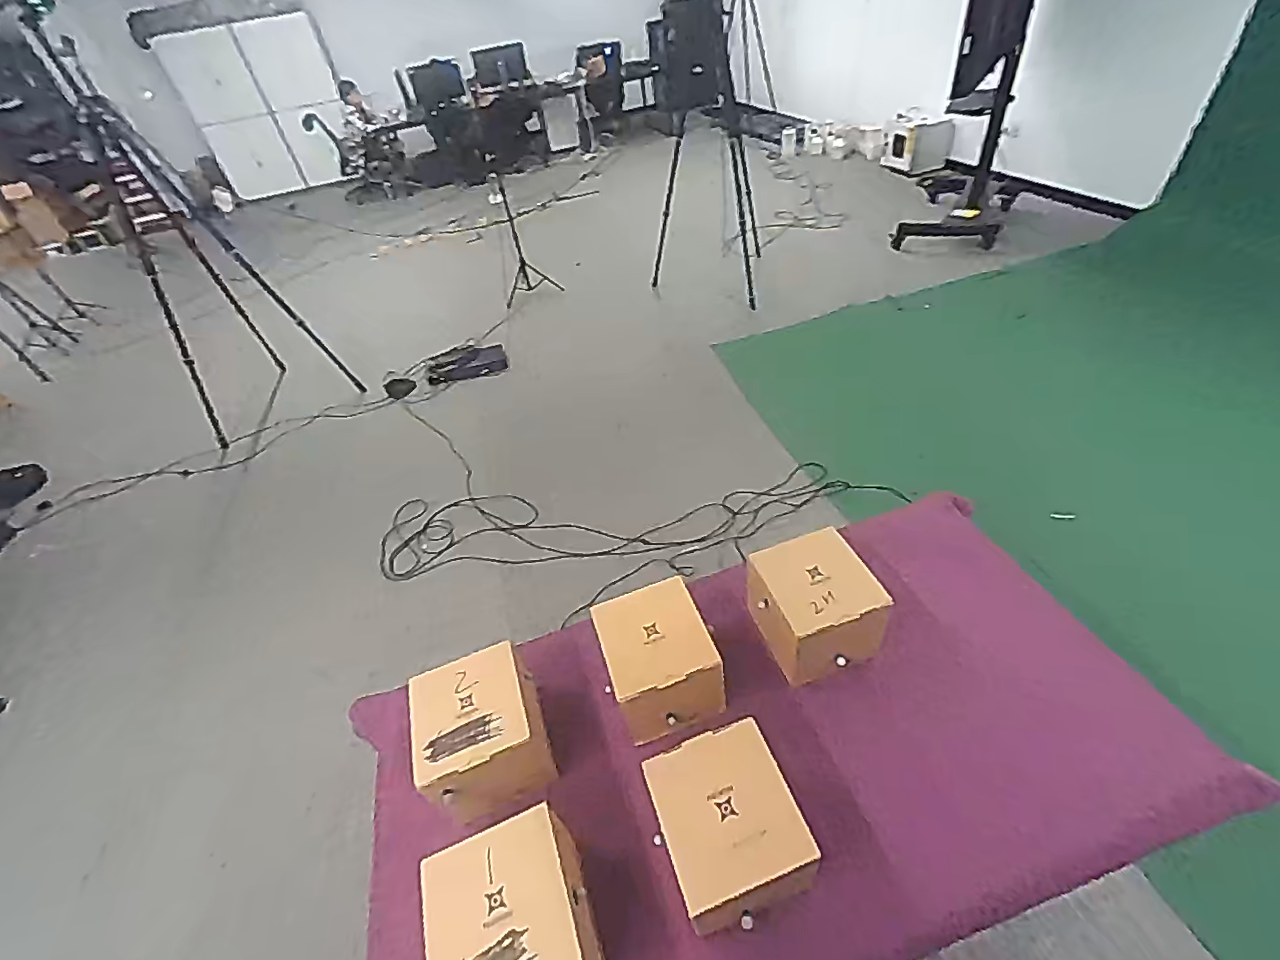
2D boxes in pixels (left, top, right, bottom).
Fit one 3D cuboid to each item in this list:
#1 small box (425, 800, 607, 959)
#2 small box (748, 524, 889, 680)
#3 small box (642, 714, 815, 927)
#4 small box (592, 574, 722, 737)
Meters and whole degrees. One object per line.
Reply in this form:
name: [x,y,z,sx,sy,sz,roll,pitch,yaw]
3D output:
small box: [-0.153,0.552,0.683,0.168,0.176,0.179,-21,42,-10]
small box: [0.297,0.212,0.942,0.168,0.176,0.179,-18,44,-6]
small box: [0.113,0.458,0.728,0.168,0.176,0.179,-19,44,-7]
small box: [0.030,0.297,0.916,0.168,0.176,0.179,-19,45,-8]
